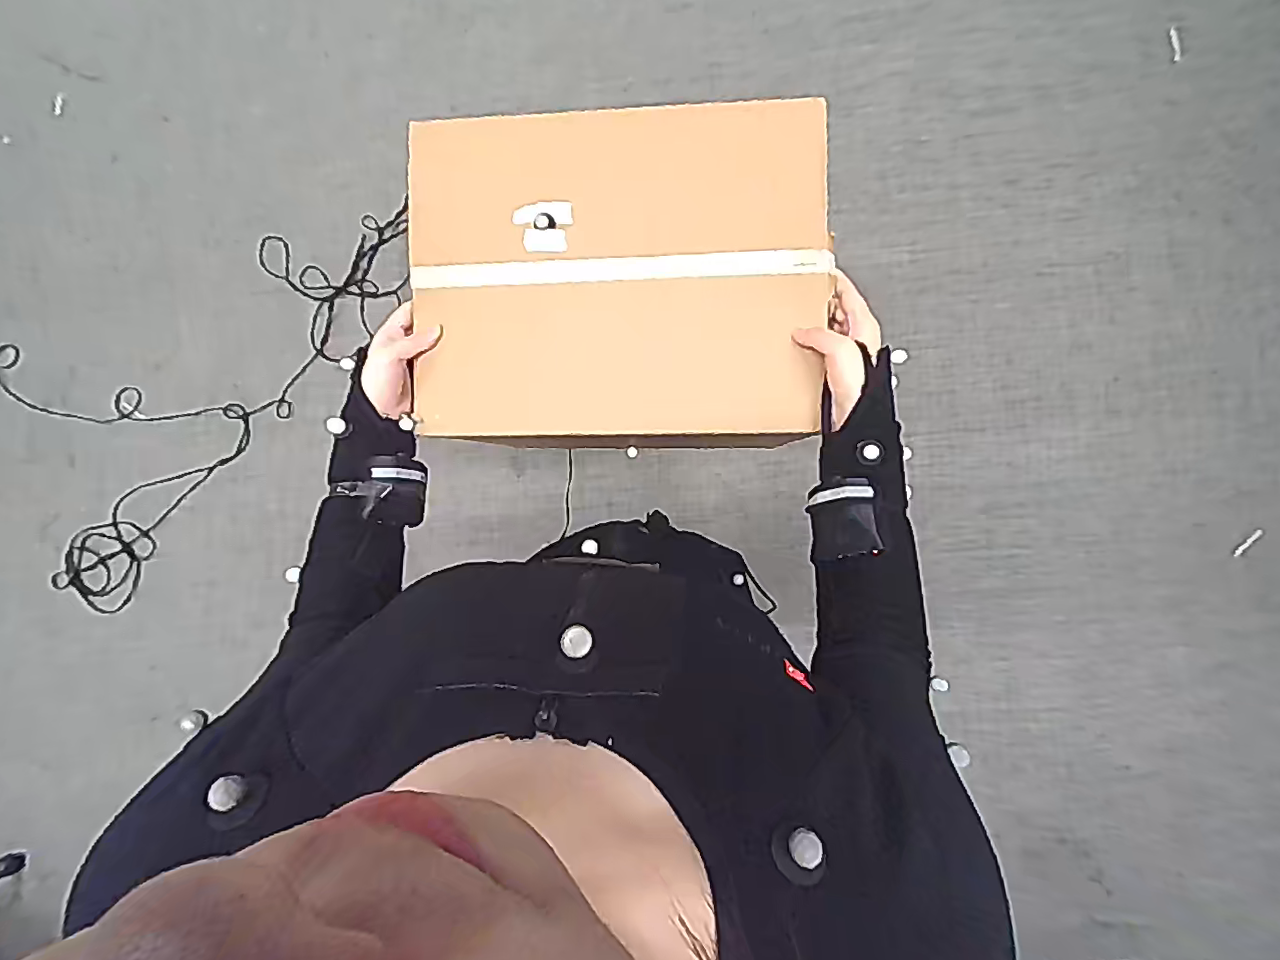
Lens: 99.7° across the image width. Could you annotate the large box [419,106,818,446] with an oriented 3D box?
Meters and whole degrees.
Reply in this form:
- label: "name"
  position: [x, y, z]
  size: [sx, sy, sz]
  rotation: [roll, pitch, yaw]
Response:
- label: "large box"
  position: [-0.011, -0.203, 0.685]
  size: [0.408, 0.320, 0.320]
  rotation: [0, 91, 6]
